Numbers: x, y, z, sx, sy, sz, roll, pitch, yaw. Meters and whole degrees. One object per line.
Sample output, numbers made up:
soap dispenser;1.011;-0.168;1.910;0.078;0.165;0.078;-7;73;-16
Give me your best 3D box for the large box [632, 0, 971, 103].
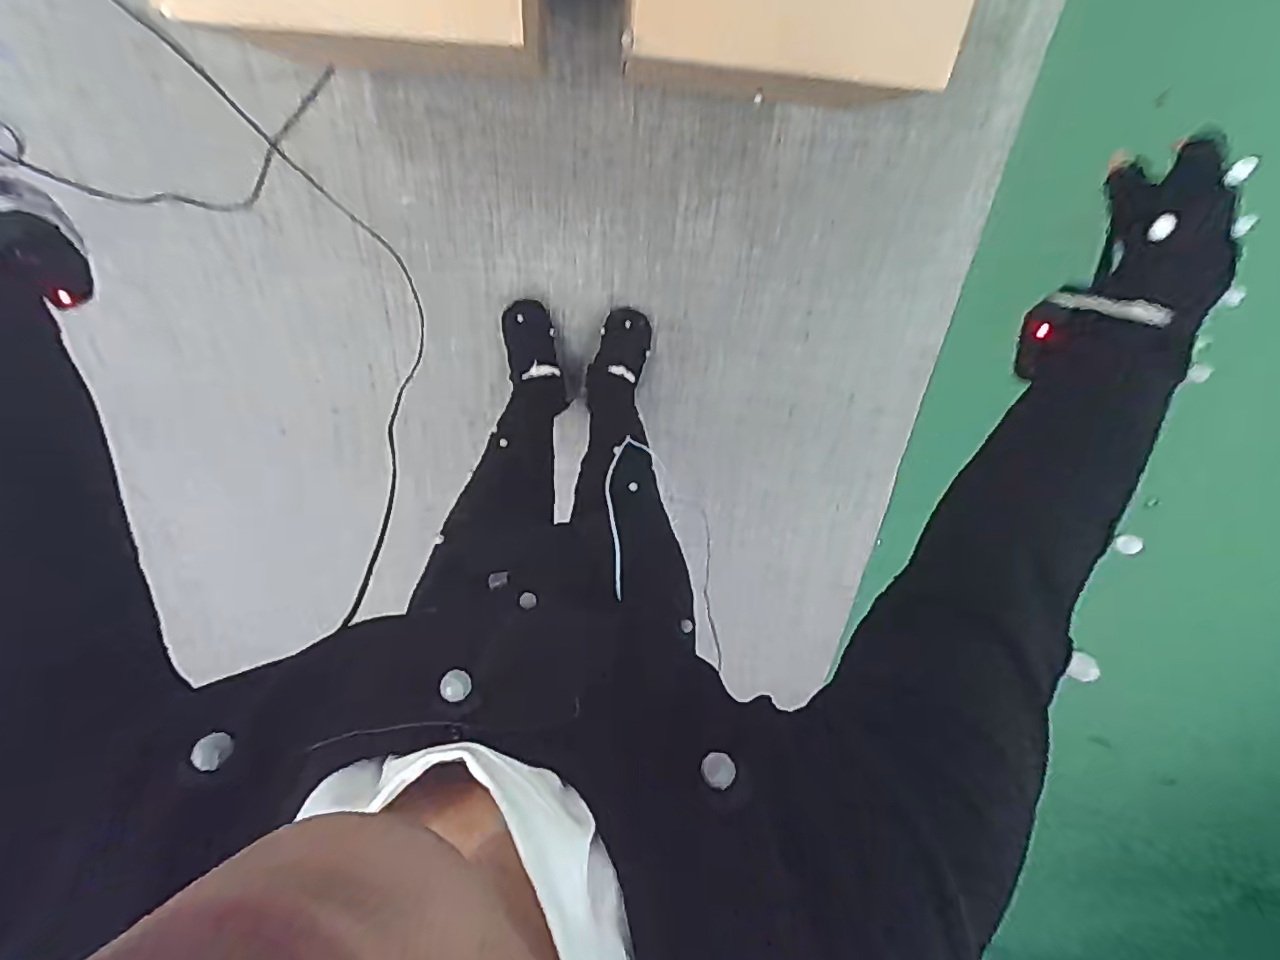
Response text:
large box;0.204;-0.720;0.730;0.408;0.320;0.320;4;120;-5
